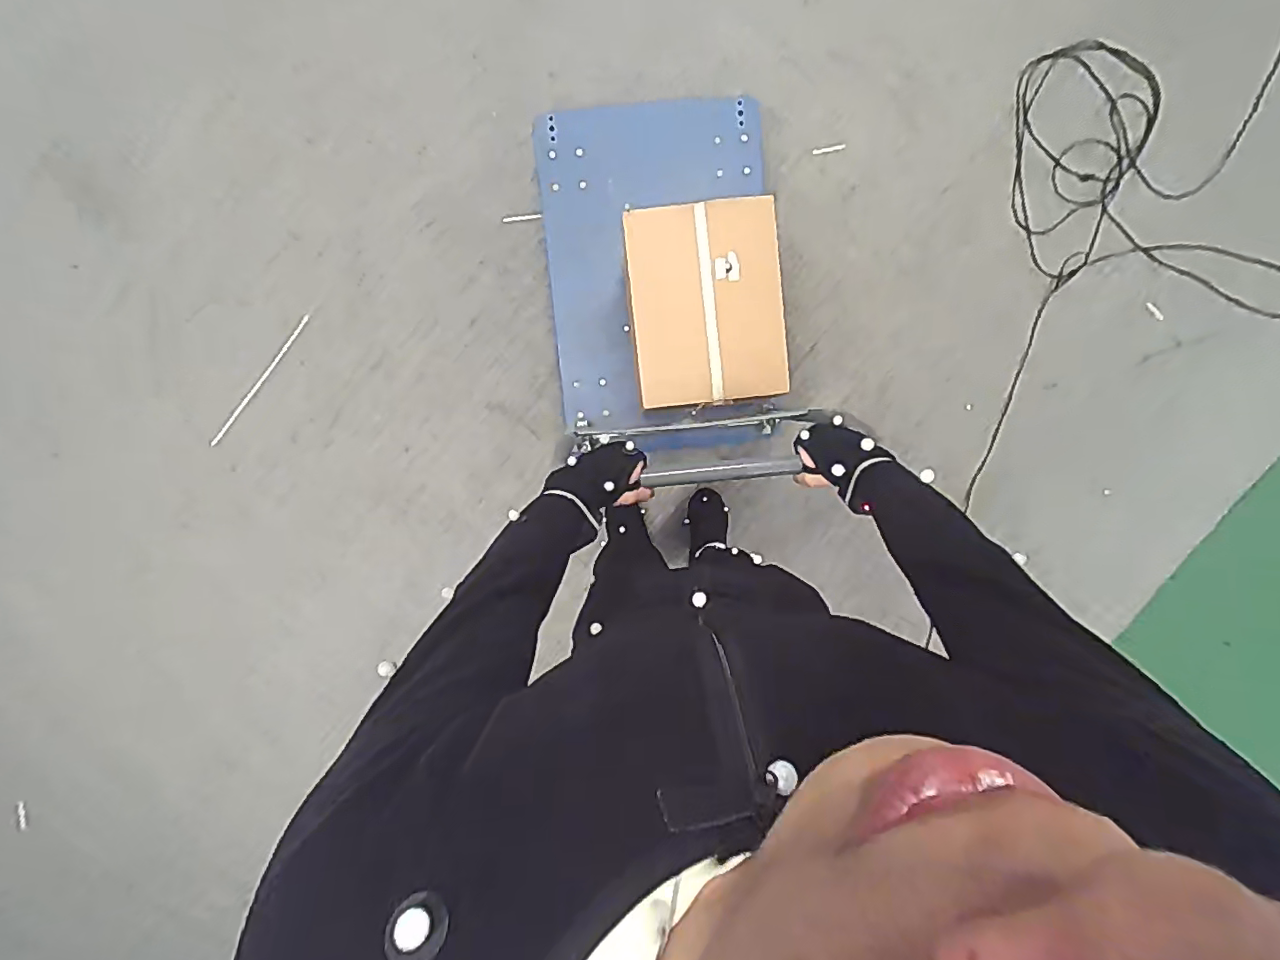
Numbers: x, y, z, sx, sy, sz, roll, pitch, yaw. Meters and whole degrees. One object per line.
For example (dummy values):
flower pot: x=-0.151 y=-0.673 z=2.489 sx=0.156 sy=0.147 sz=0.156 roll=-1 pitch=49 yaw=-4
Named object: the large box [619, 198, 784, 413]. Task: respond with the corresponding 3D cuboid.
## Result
large box: x=0.130 y=-0.382 z=1.283 sx=0.320 sy=0.320 sz=0.408 roll=-7 pitch=94 yaw=-2
